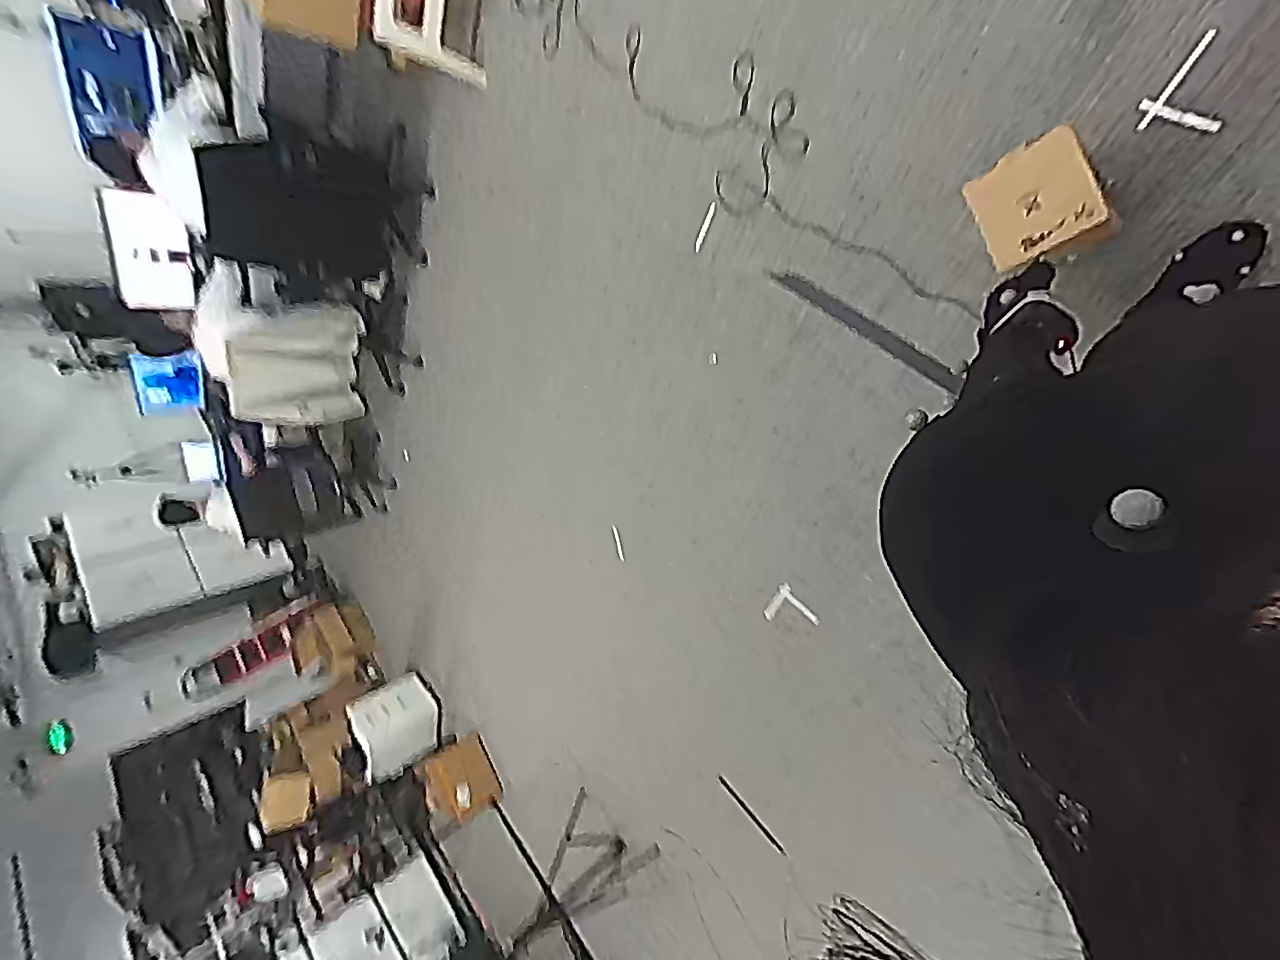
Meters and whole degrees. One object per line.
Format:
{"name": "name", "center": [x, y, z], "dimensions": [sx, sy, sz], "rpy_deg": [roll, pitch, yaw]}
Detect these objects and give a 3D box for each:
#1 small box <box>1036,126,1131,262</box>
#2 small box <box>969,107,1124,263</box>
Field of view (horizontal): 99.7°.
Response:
{"name": "small box", "center": [0.835, -0.553, 1.075], "dimensions": [0.168, 0.176, 0.179], "rpy_deg": [-27, 85, 47]}
{"name": "small box", "center": [0.724, -0.508, 0.963], "dimensions": [0.168, 0.176, 0.179], "rpy_deg": [-24, 86, 47]}
